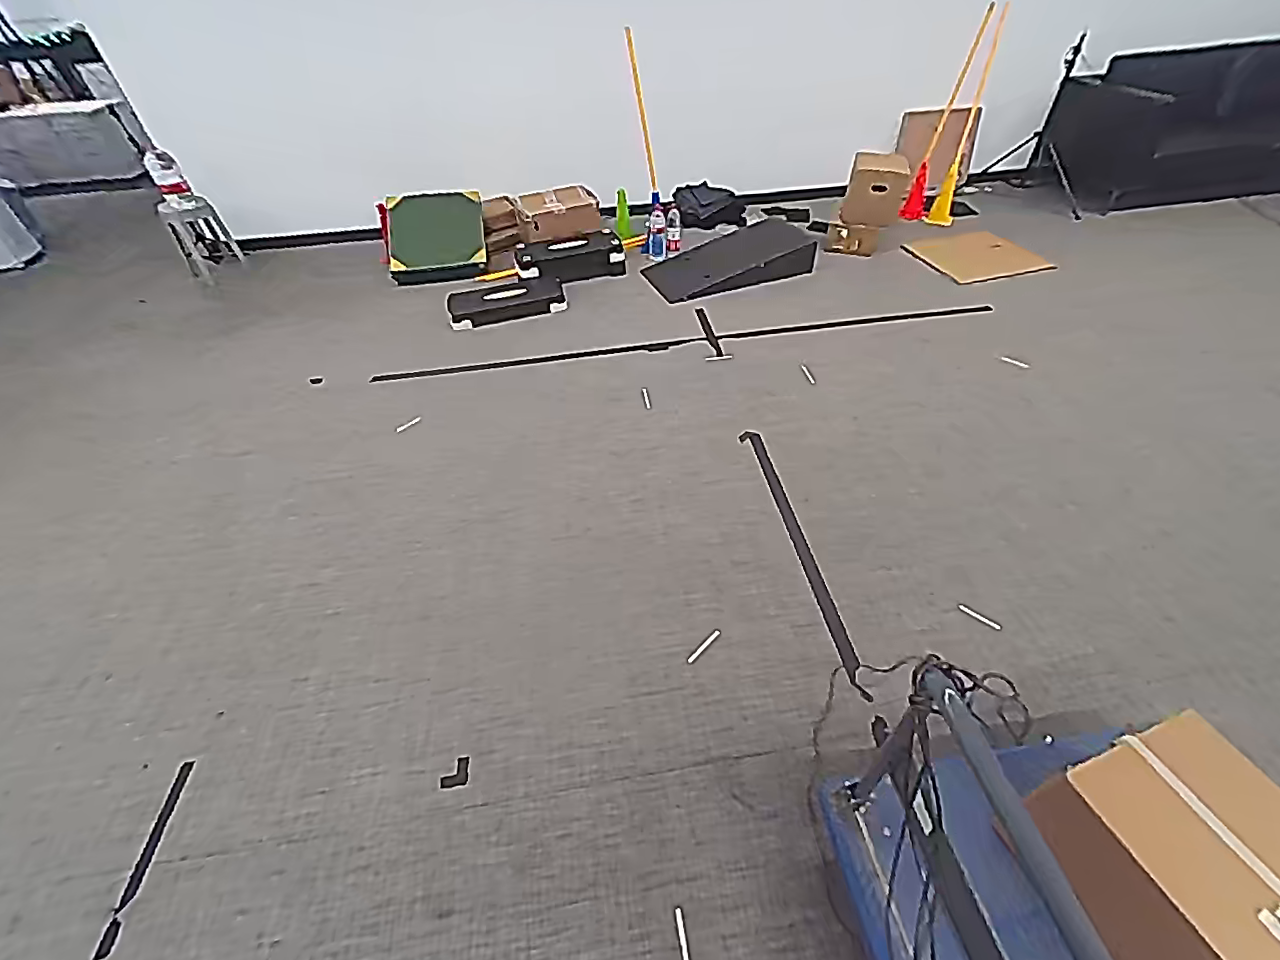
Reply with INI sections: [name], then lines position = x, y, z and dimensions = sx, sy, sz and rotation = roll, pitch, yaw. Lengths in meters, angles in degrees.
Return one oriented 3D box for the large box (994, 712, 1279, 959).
[large box]
position = 0.937, 0.695, 0.928
dimensions = 0.320, 0.320, 0.408
rotation = -16, 47, -12
